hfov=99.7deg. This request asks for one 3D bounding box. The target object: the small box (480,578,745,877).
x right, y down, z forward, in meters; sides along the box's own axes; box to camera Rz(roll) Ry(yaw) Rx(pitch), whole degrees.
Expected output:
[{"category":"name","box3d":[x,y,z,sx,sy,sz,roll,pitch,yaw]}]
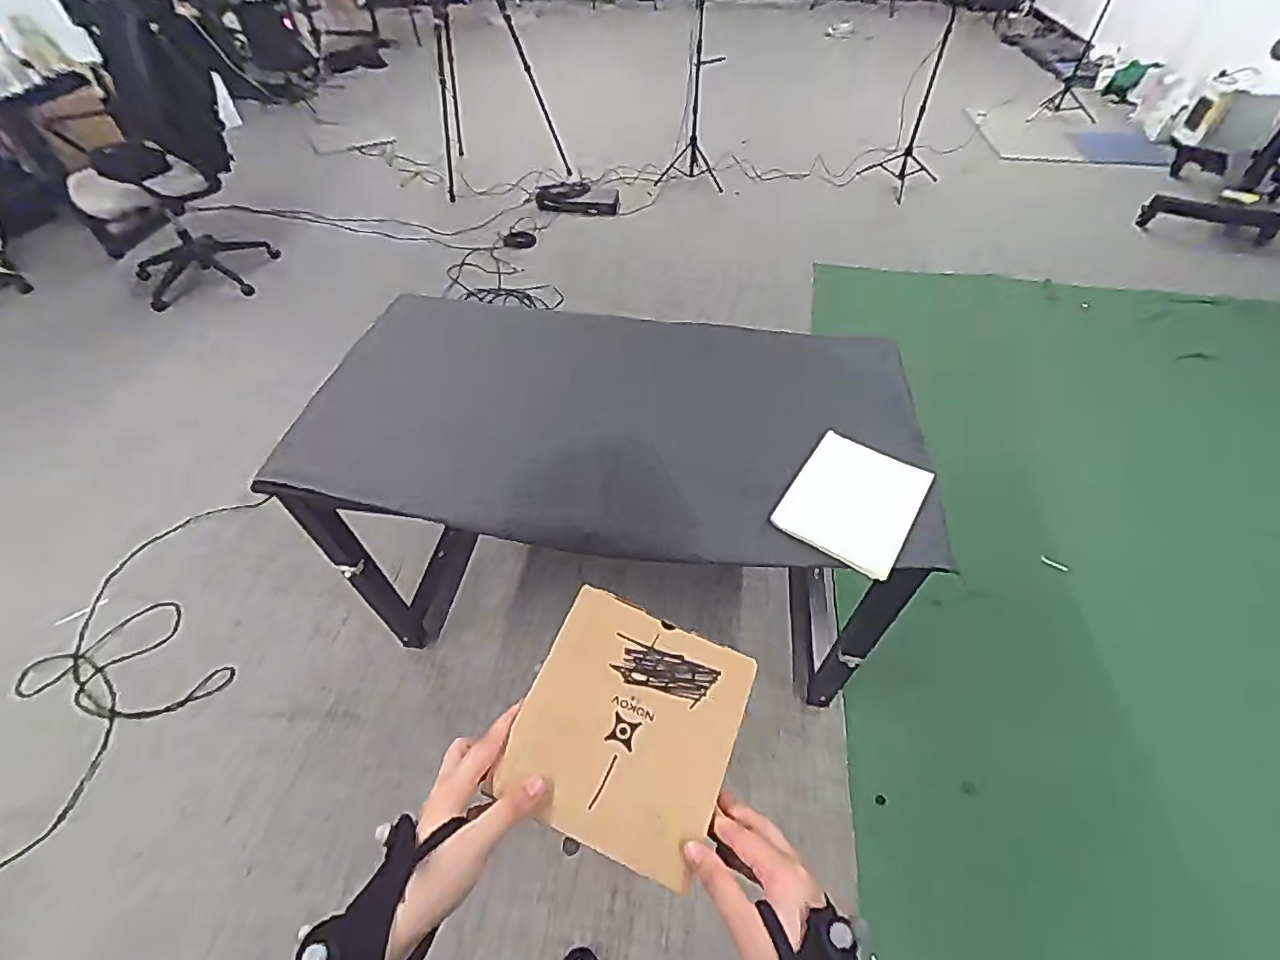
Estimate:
[{"category":"small box","box3d":[-0.022,0.225,0.505,0.168,0.176,0.179,22,61,8]}]
